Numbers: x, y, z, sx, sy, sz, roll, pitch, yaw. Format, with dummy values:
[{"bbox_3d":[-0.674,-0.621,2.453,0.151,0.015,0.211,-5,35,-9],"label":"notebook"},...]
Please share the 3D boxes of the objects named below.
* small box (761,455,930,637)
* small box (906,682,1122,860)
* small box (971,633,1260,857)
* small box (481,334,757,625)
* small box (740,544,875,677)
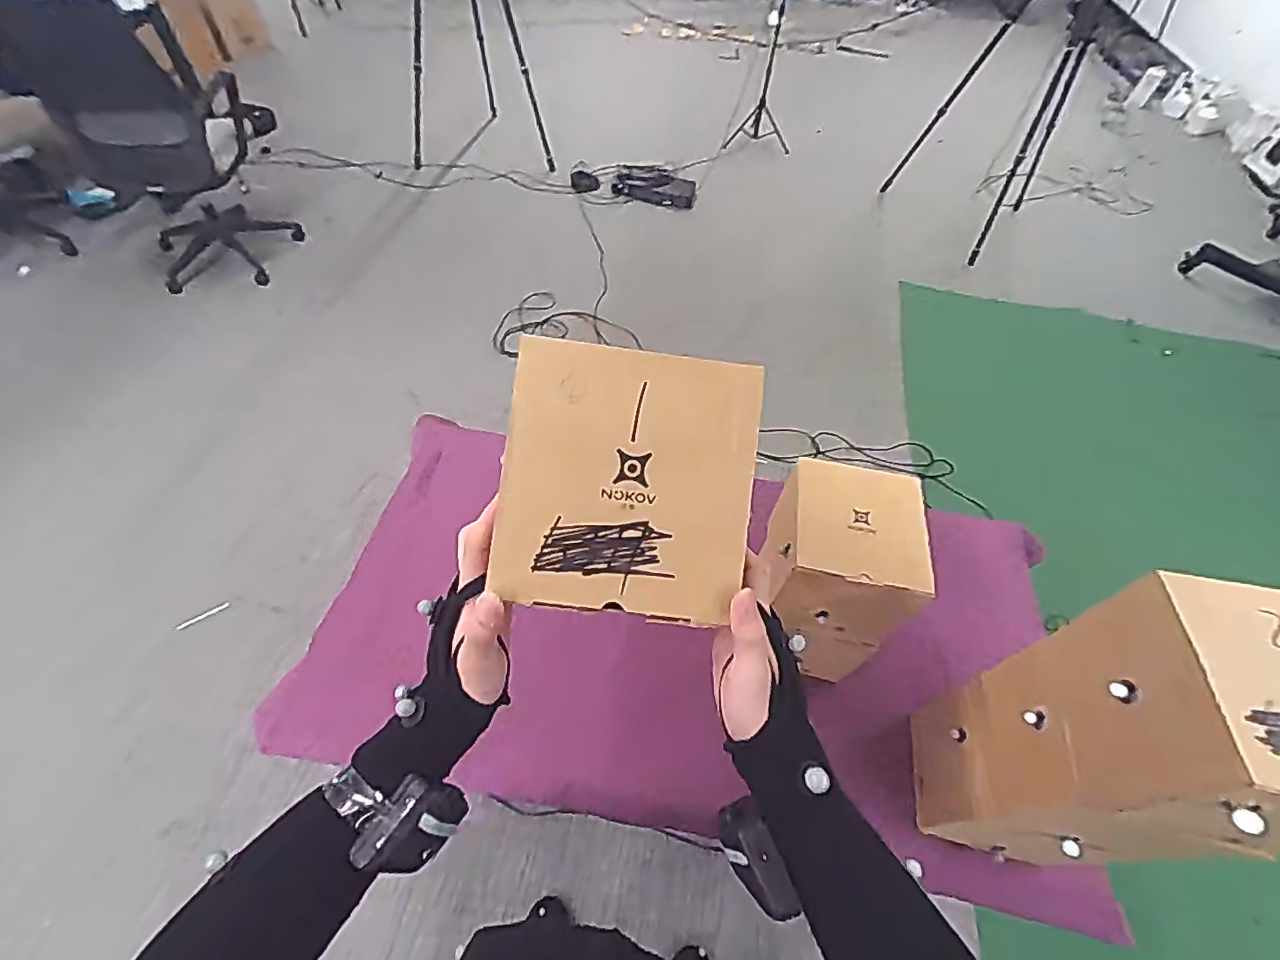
[{"bbox_3d":[0.272,0.096,0.752,0.168,0.176,0.179,11,56,3],"label":"small box"},{"bbox_3d":[0.496,0.404,0.748,0.179,0.176,0.168,13,54,6],"label":"small box"},{"bbox_3d":[0.508,0.305,0.618,0.168,0.176,0.179,12,54,7],"label":"small box"},{"bbox_3d":[-0.017,0.004,0.435,0.168,0.176,0.179,7,86,-4],"label":"small box"},{"bbox_3d":[0.268,0.195,0.881,0.168,0.176,0.179,14,55,6],"label":"small box"}]
